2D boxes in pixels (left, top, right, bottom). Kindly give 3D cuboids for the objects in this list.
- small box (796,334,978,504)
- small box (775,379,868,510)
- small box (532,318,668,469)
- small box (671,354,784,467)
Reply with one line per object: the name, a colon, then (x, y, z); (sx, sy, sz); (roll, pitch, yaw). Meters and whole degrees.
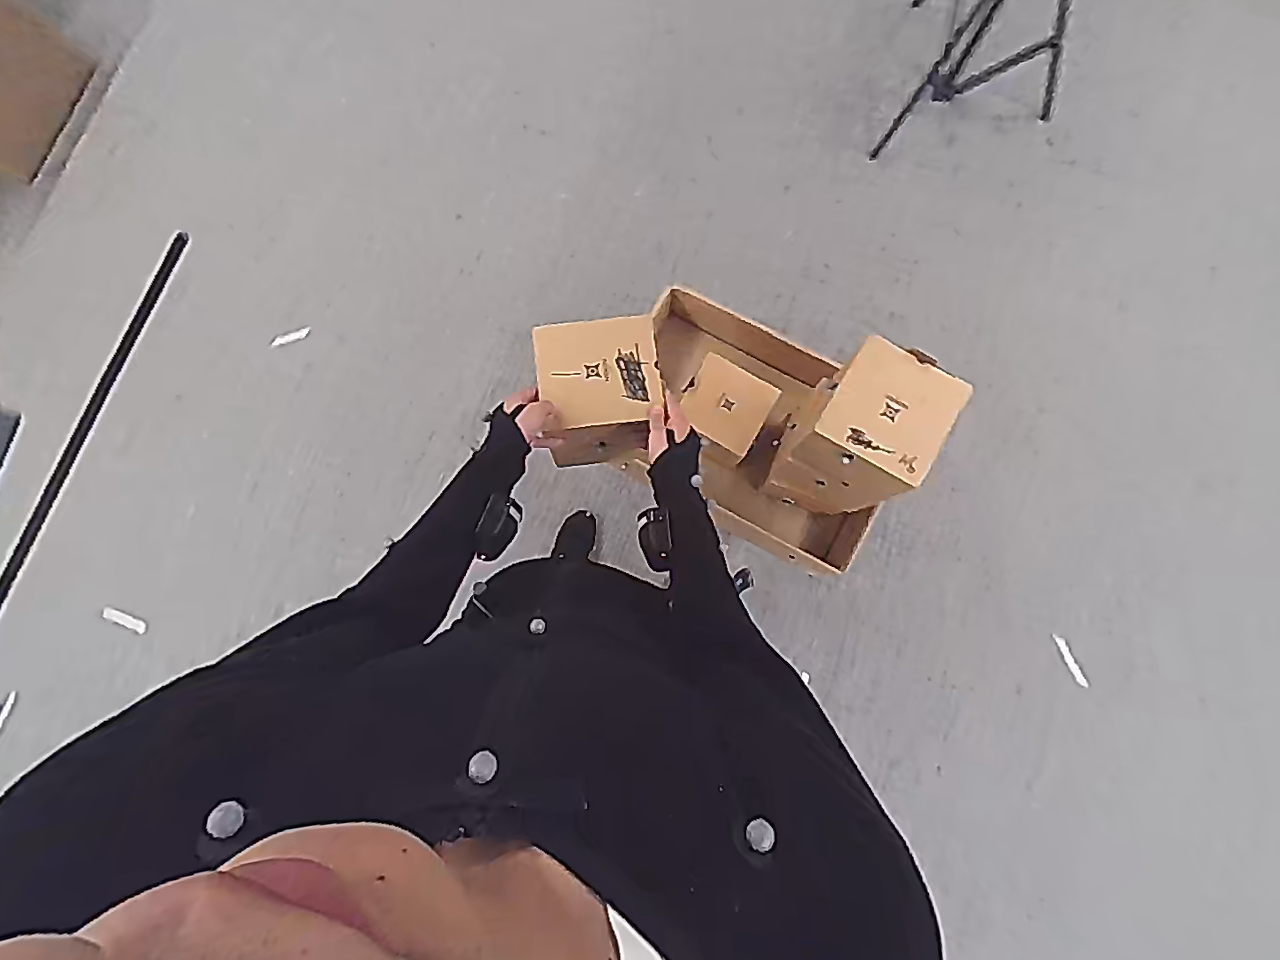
small box: (0.362, -0.083, 0.831); (0.168, 0.176, 0.179); (32, 83, 8)
small box: (0.367, -0.054, 0.993); (0.179, 0.176, 0.168); (26, 83, 7)
small box: (-0.059, -0.124, 0.823); (0.179, 0.176, 0.168); (-7, 74, -3)
small box: (0.183, -0.142, 1.181); (0.179, 0.176, 0.168); (31, 84, 6)
